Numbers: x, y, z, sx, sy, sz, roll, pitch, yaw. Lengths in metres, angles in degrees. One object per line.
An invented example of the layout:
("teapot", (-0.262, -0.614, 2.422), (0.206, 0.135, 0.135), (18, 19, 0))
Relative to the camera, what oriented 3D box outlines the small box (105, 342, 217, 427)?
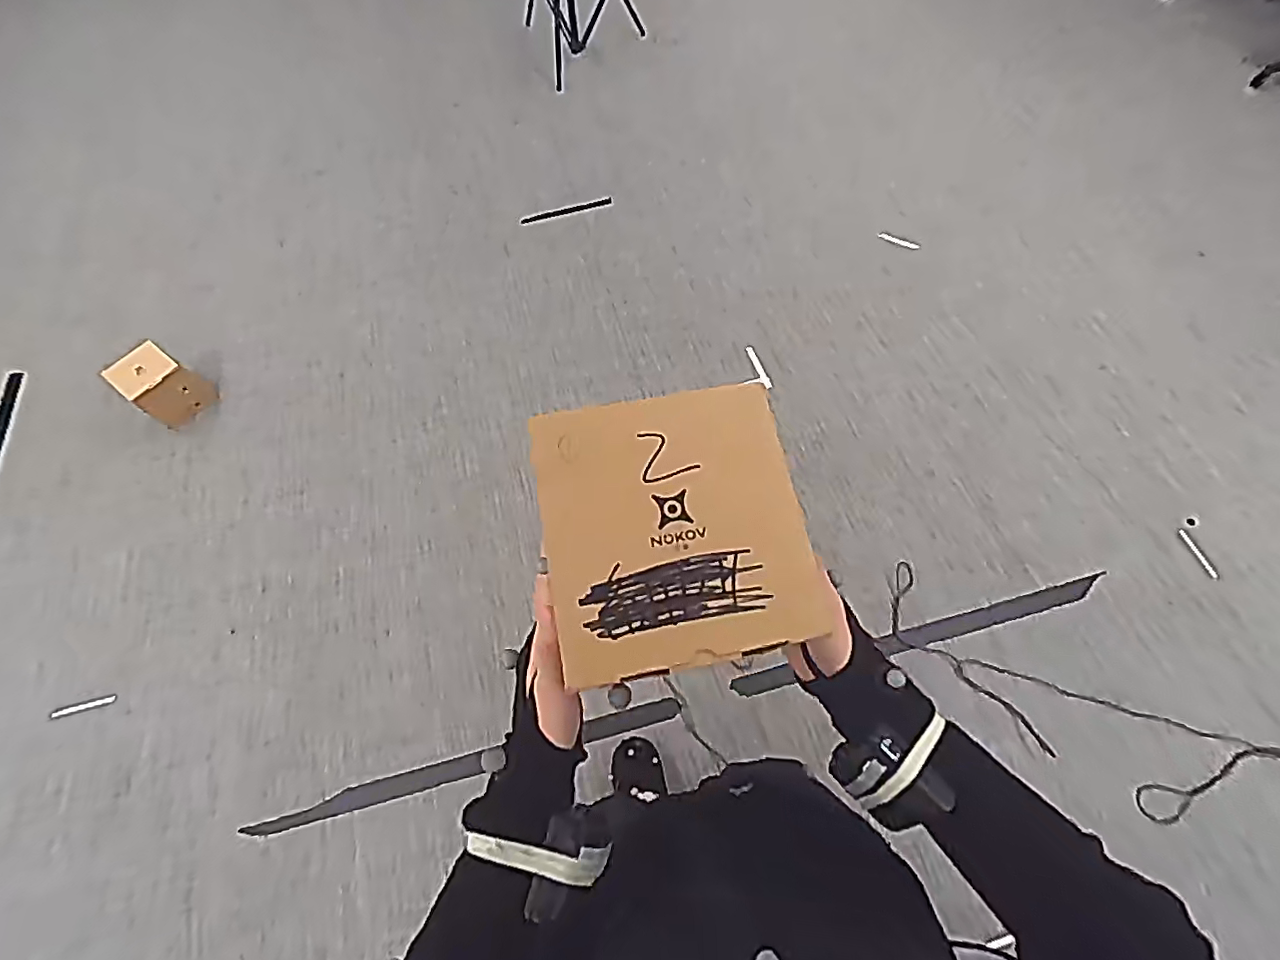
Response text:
("small box", (-1.509, -0.295, 1.717), (0.179, 0.176, 0.168), (33, 69, 18))
